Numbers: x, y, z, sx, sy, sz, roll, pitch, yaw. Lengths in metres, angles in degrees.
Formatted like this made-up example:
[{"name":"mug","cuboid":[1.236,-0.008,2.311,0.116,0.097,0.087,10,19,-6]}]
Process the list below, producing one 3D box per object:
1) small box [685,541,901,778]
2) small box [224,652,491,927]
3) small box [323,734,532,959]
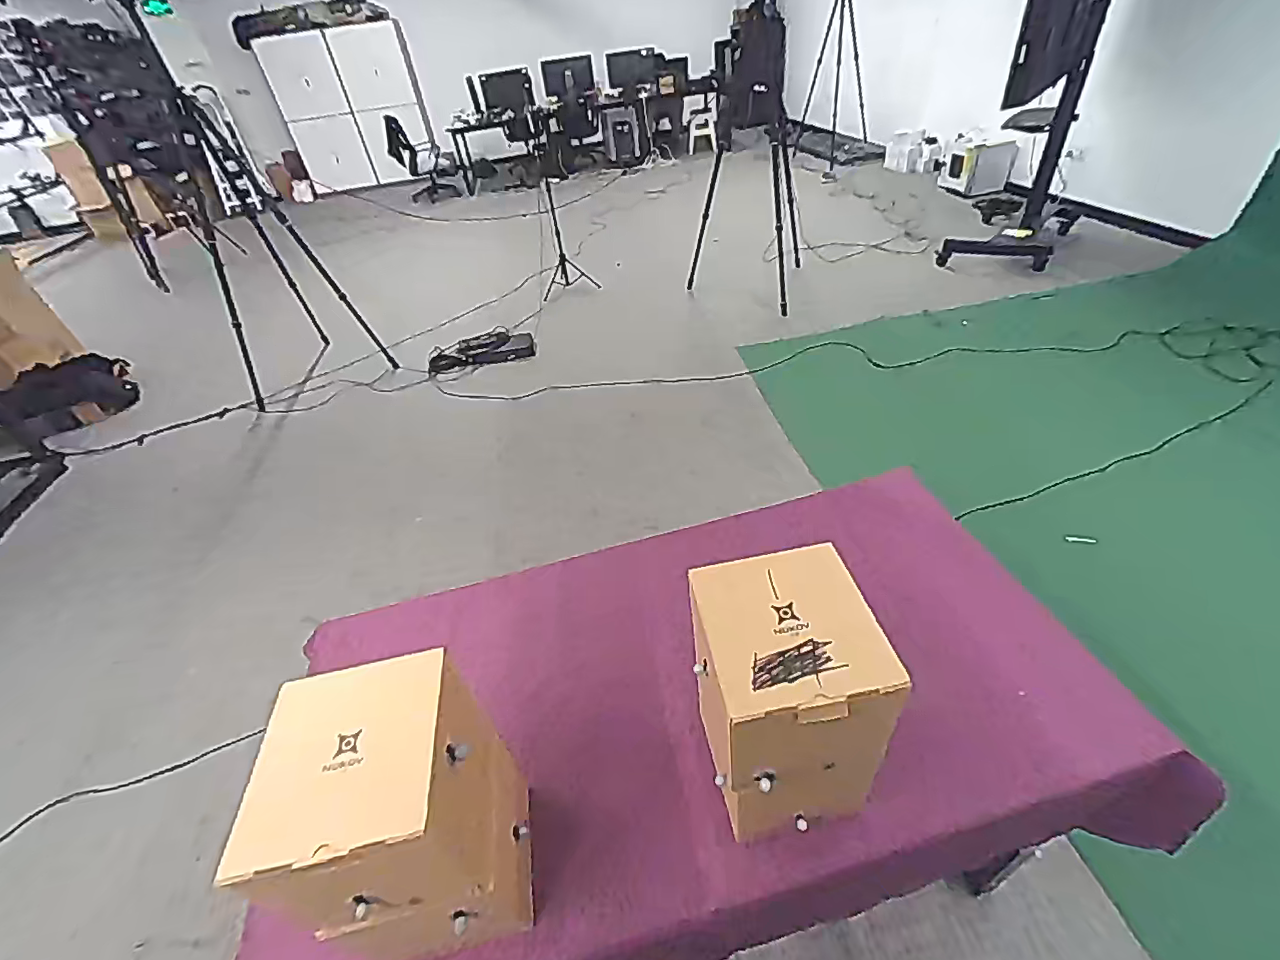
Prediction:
[{"name":"small box","cuboid":[0.153,0.198,0.587,0.168,0.176,0.179,-12,40,-1]},{"name":"small box","cuboid":[-0.256,0.309,0.546,0.168,0.176,0.179,-13,41,-4]},{"name":"small box","cuboid":[-0.230,0.437,0.644,0.179,0.176,0.168,-13,40,-4]}]
